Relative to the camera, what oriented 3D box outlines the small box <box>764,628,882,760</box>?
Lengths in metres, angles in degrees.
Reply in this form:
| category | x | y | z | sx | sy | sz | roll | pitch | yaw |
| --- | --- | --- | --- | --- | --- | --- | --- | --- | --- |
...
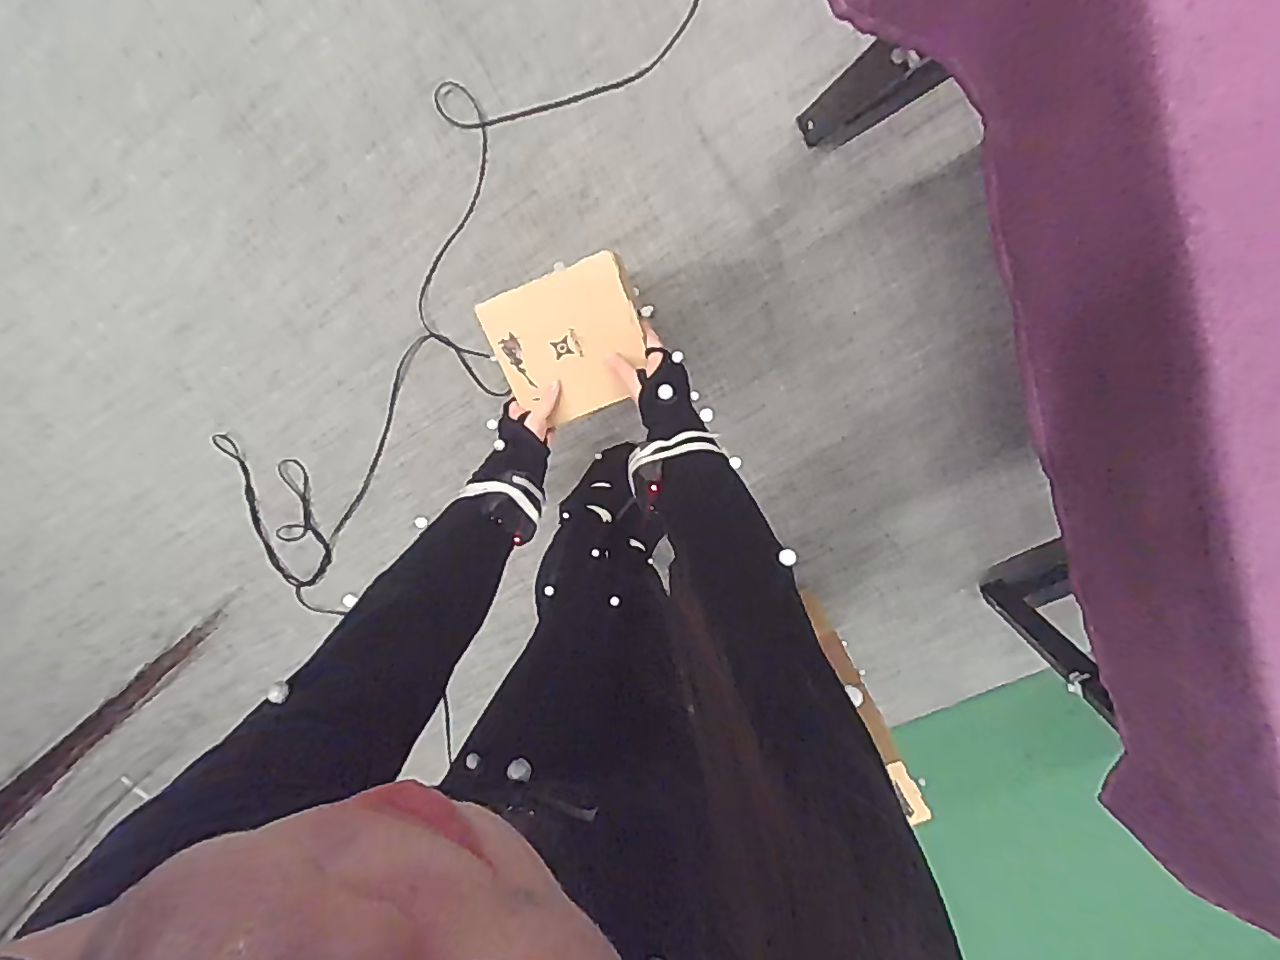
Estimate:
| category | x | y | z | sx | sy | sz | roll | pitch | yaw |
| --- | --- | --- | --- | --- | --- | --- | --- | --- | --- |
| small box | 0.383 | 0.455 | 1.165 | 0.179 | 0.176 | 0.168 | -27 | 111 | 10 |

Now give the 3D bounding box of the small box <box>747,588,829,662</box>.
| category | x | y | z | sx | sy | sz | roll | pitch | yaw |
| --- | --- | --- | --- | --- | --- | --- | --- | --- | --- |
| small box | 0.377 | 0.386 | 1.313 | 0.168 | 0.176 | 0.179 | -29 | 110 | 12 |

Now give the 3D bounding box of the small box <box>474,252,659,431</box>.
| category | x | y | z | sx | sy | sz | roll | pitch | yaw |
| --- | --- | --- | --- | --- | --- | --- | --- | --- | --- |
| small box | -0.087 | -0.187 | 0.715 | 0.179 | 0.176 | 0.168 | -20 | 109 | 7 |
